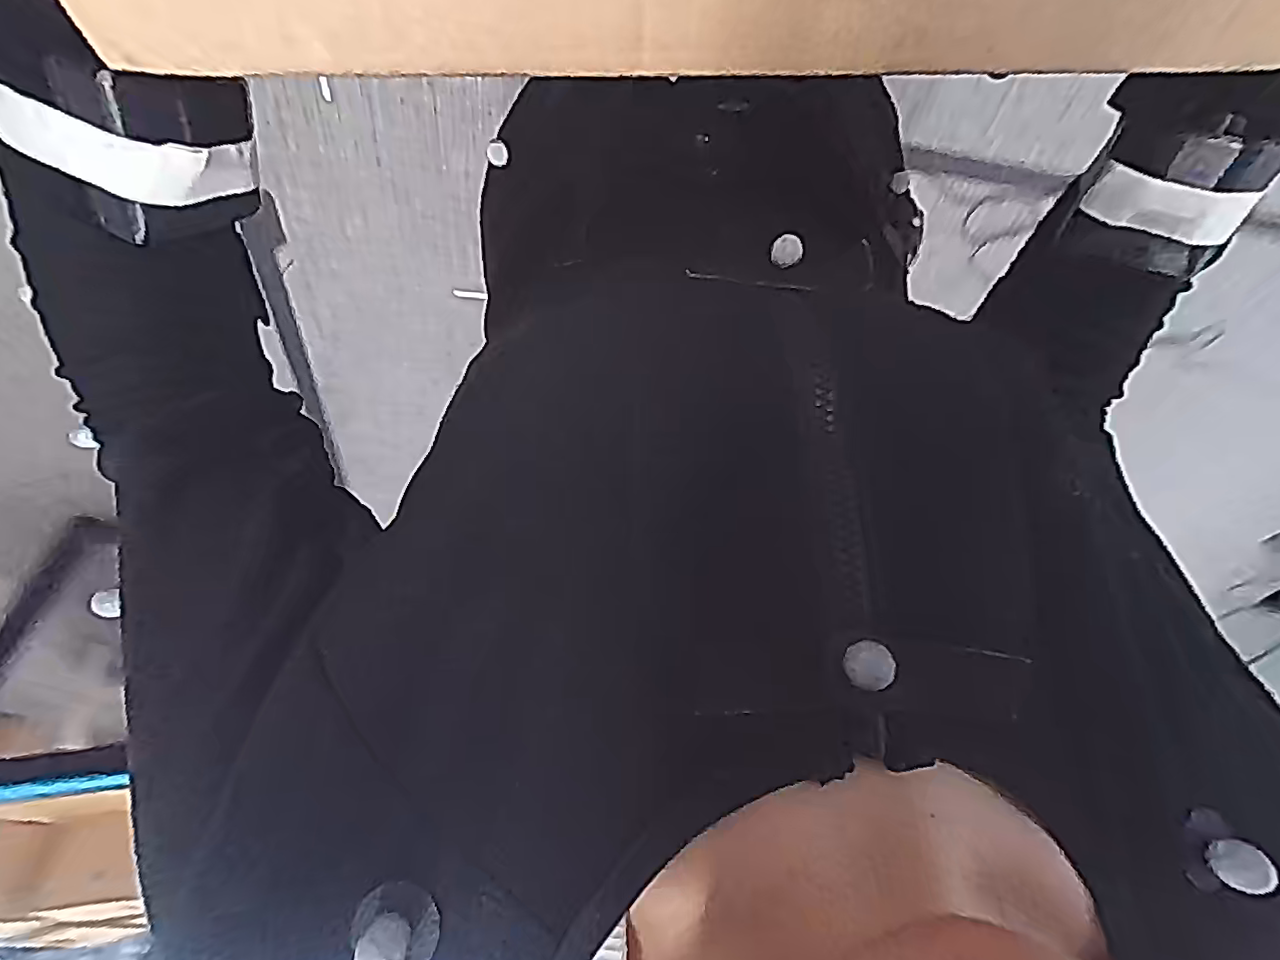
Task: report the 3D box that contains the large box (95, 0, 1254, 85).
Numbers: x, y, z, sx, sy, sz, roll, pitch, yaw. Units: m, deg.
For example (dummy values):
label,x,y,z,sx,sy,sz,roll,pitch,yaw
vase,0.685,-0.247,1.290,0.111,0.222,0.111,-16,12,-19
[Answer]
label,x,y,z,sx,sy,sz,roll,pitch,yaw
large box,0.014,-0.362,0.160,0.408,0.320,0.320,-5,142,-4
